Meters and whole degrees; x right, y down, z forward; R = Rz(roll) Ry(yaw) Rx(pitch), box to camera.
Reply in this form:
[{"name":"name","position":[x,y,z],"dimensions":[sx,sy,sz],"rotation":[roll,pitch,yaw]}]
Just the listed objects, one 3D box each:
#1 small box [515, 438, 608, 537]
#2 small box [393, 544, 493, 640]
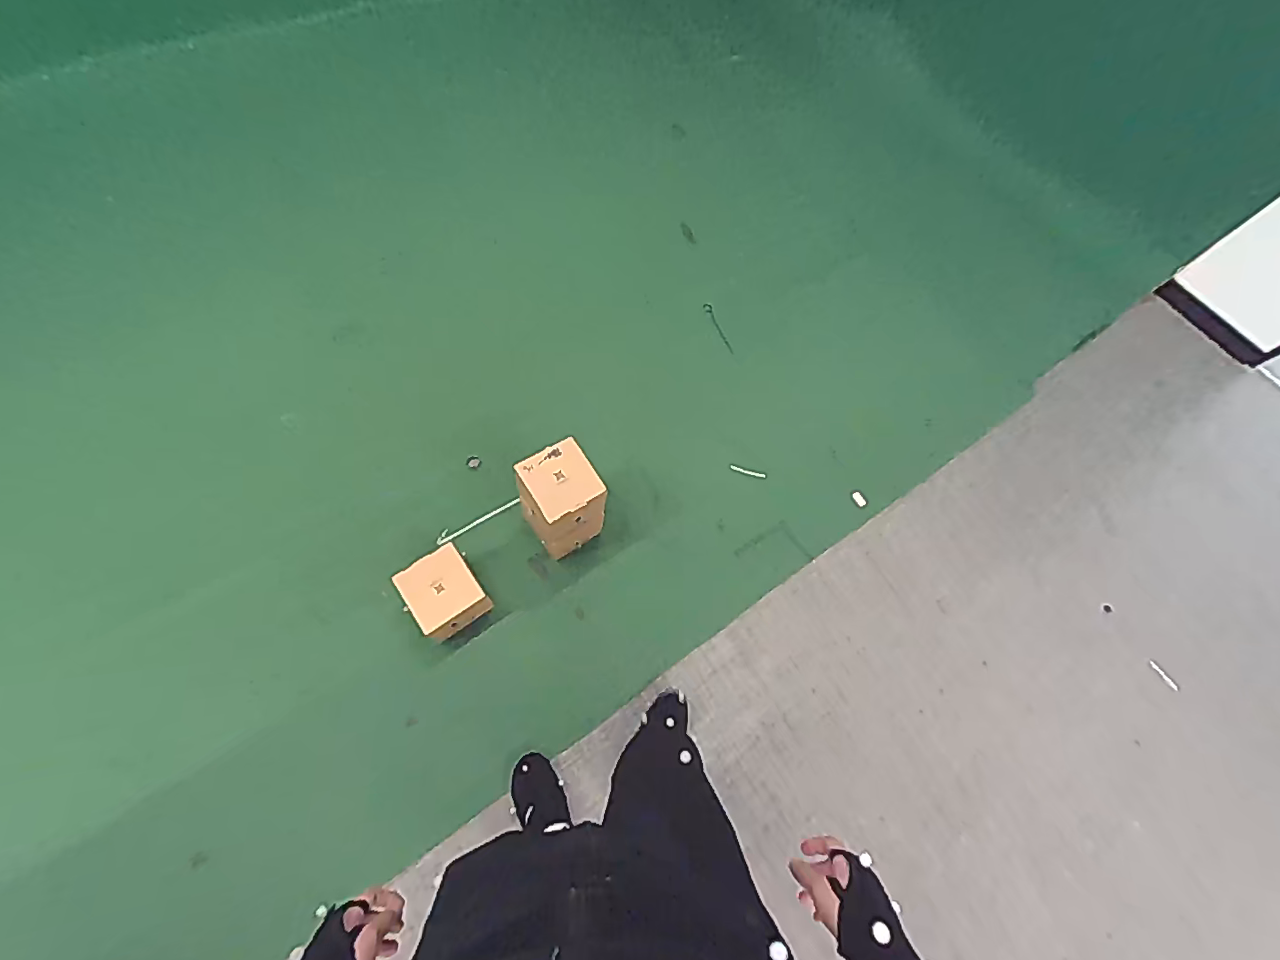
[{"name":"small box","position":[-0.199,0.029,1.378],"dimensions":[0.168,0.176,0.179],"rotation":[-29,75,-19]},{"name":"small box","position":[-0.502,0.298,1.406],"dimensions":[0.168,0.176,0.179],"rotation":[-34,74,-19]}]
